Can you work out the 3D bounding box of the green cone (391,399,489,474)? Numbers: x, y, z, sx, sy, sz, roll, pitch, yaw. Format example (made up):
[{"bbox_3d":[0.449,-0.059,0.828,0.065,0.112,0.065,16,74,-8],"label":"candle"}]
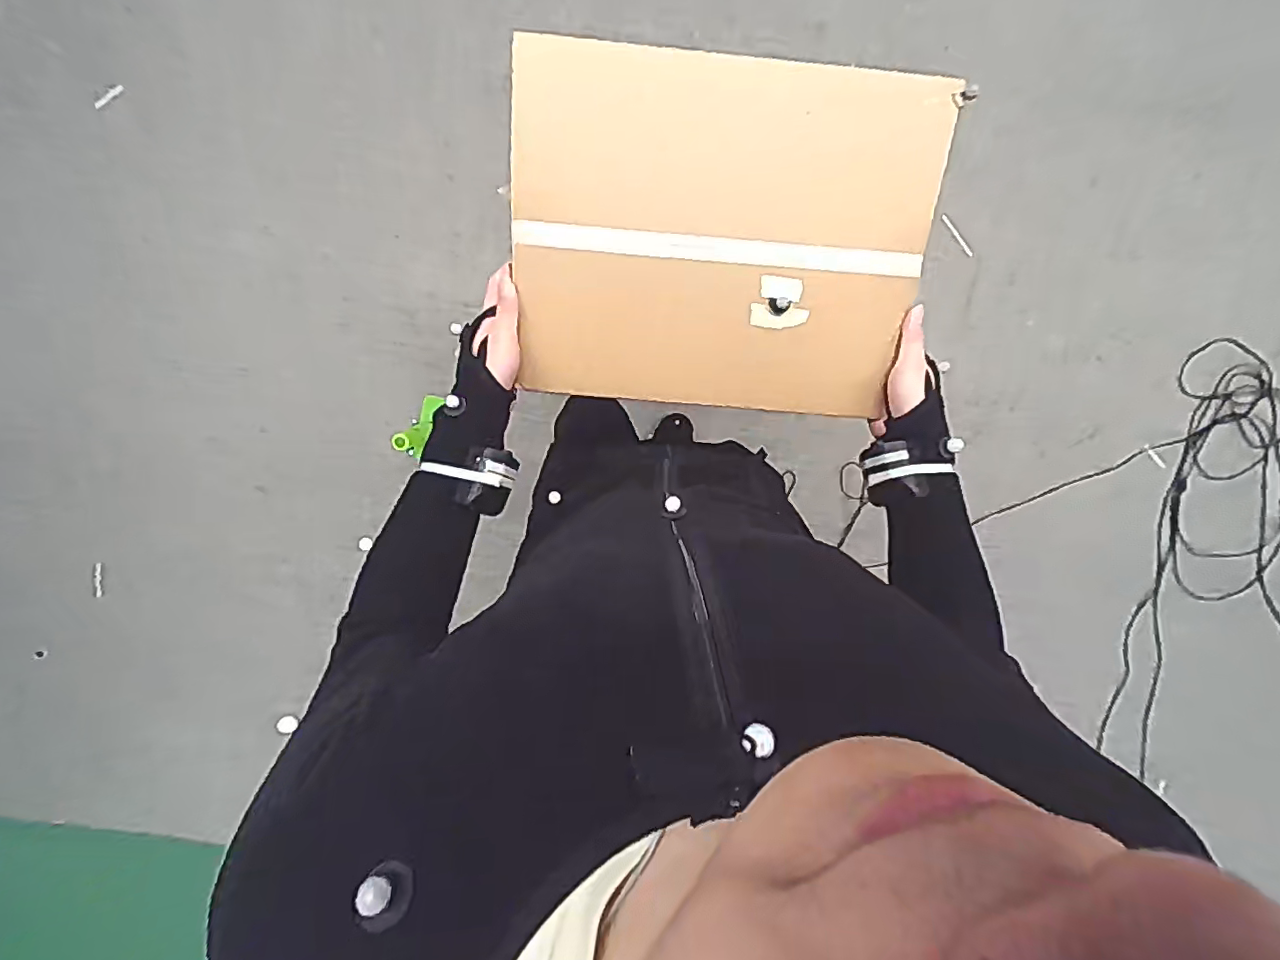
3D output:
[{"bbox_3d":[-0.564,-0.102,1.442,0.200,0.368,0.202,13,99,-1],"label":"green cone"}]

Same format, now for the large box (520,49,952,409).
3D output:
[{"bbox_3d":[0.077,-0.281,0.679,0.408,0.320,0.320,3,111,-3],"label":"large box"}]
